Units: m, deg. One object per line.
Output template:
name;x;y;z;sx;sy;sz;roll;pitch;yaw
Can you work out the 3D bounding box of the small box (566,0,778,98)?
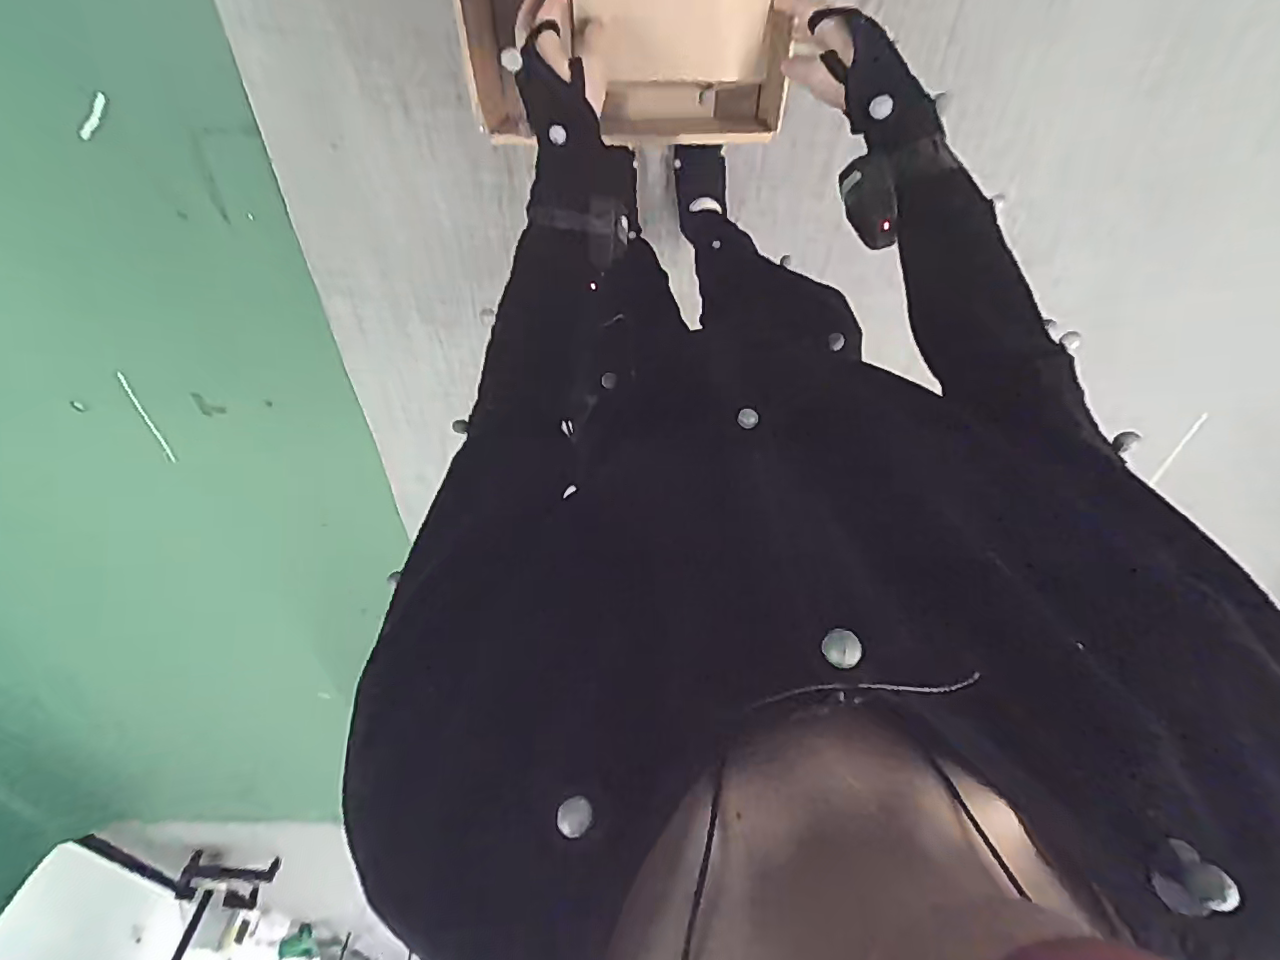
small box;0.021;-0.462;0.503;0.179;0.176;0.168;-4;123;-6
